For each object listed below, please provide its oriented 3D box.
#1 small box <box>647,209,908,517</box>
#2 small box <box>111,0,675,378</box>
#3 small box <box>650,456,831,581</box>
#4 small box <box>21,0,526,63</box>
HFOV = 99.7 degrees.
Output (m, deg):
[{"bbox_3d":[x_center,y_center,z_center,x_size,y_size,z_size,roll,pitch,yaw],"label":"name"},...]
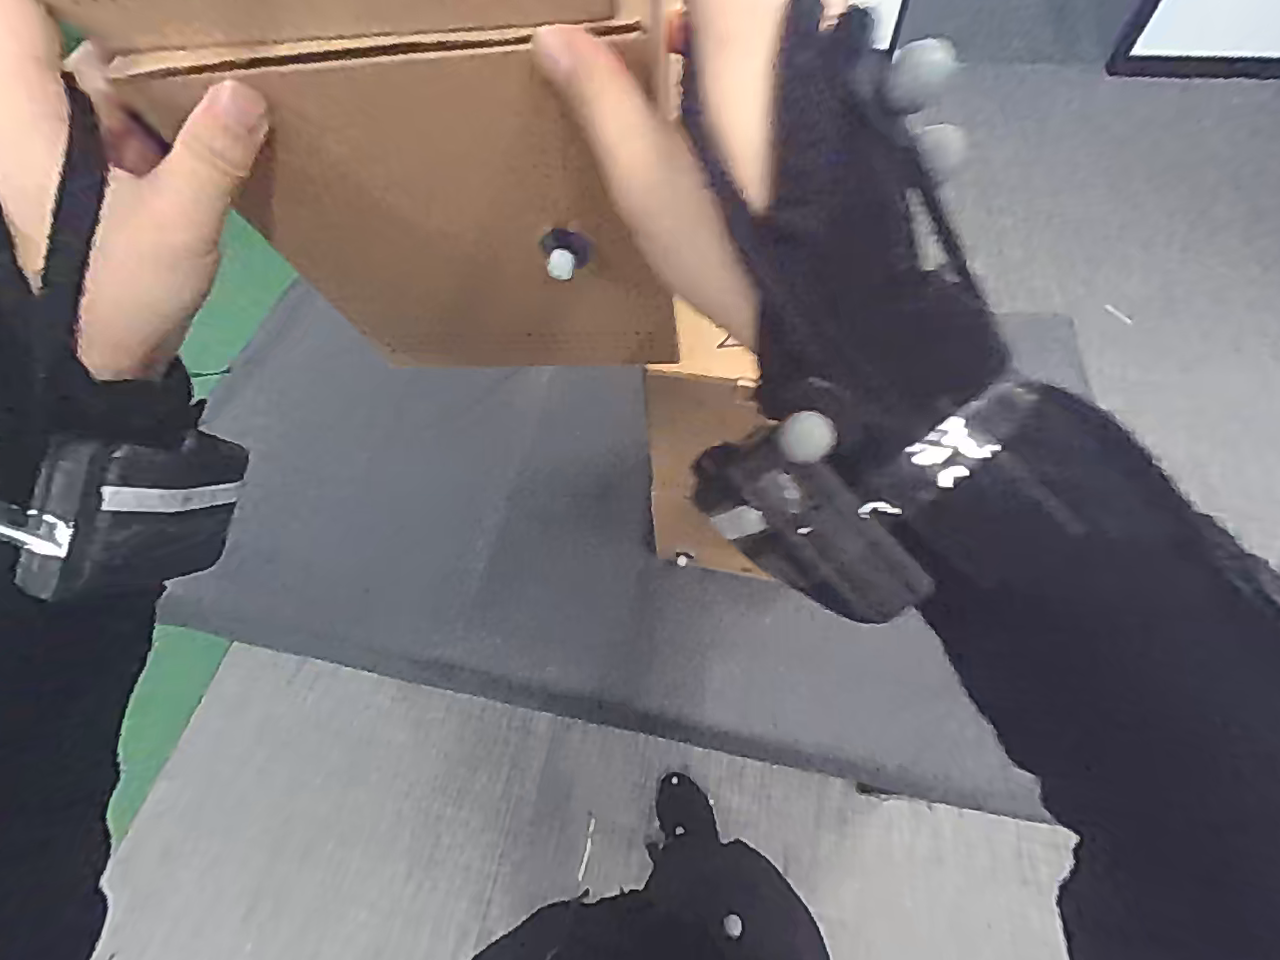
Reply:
[{"bbox_3d":[0.104,-0.091,0.448,0.168,0.176,0.179,8,61,9],"label":"small box"},{"bbox_3d":[-0.075,-0.164,0.269,0.179,0.176,0.168,0,68,8],"label":"small box"},{"bbox_3d":[0.113,-0.007,0.589,0.168,0.176,0.179,10,61,10],"label":"small box"},{"bbox_3d":[-0.100,-0.232,0.120,0.179,0.176,0.168,4,68,9],"label":"small box"}]
